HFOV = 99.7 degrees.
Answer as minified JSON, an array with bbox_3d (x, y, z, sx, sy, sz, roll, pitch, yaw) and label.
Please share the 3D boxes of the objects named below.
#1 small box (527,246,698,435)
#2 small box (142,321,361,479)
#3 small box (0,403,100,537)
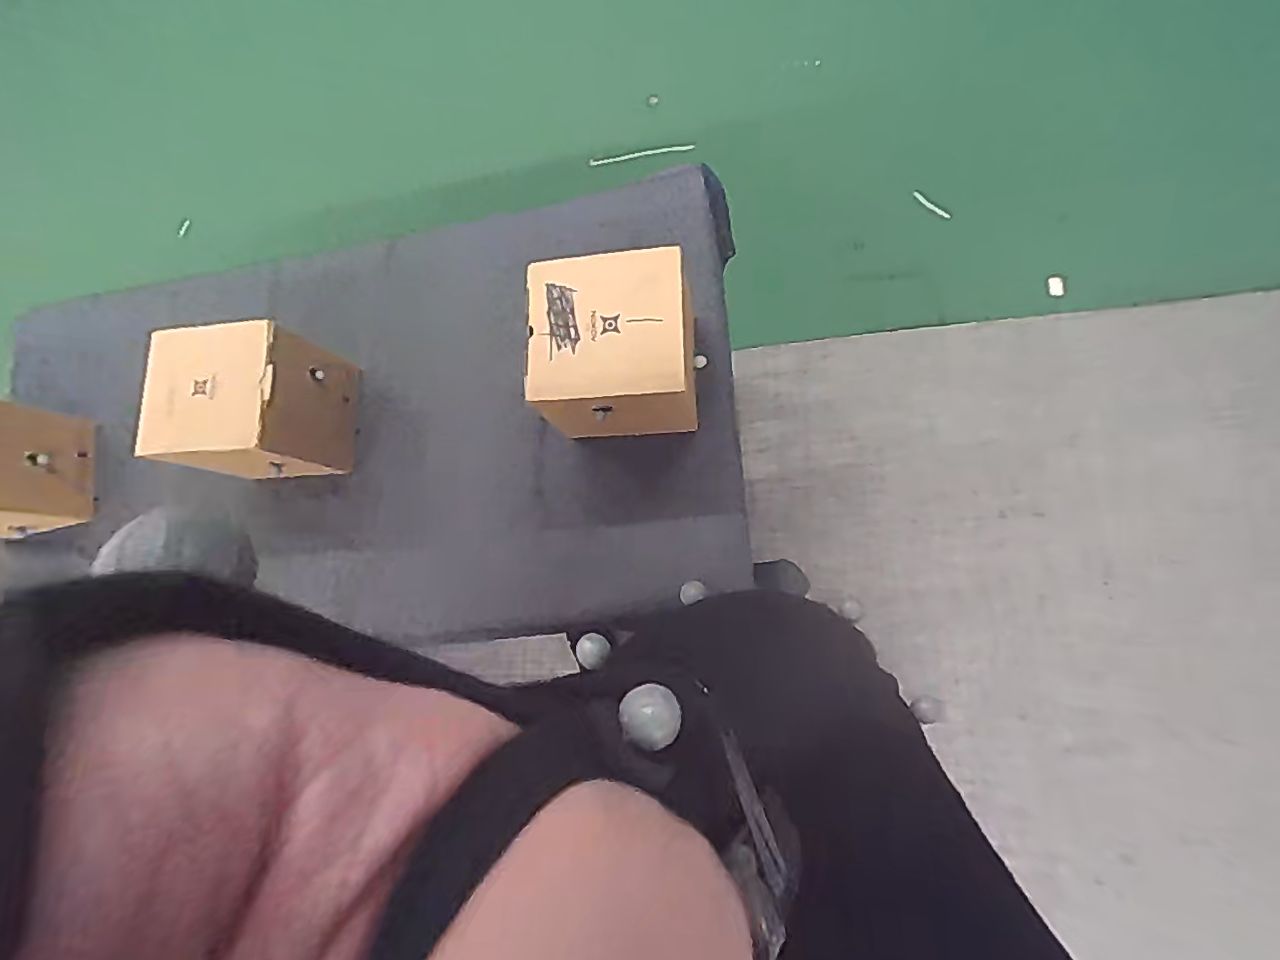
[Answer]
[{"bbox_3d":[-0.023,-0.155,0.659,0.179,0.176,0.168,-2,80,9],"label":"small box"},{"bbox_3d":[-0.515,-0.098,0.742,0.179,0.176,0.168,-4,78,11],"label":"small box"},{"bbox_3d":[-0.965,-0.013,0.805,0.179,0.176,0.168,-11,78,7],"label":"small box"}]
